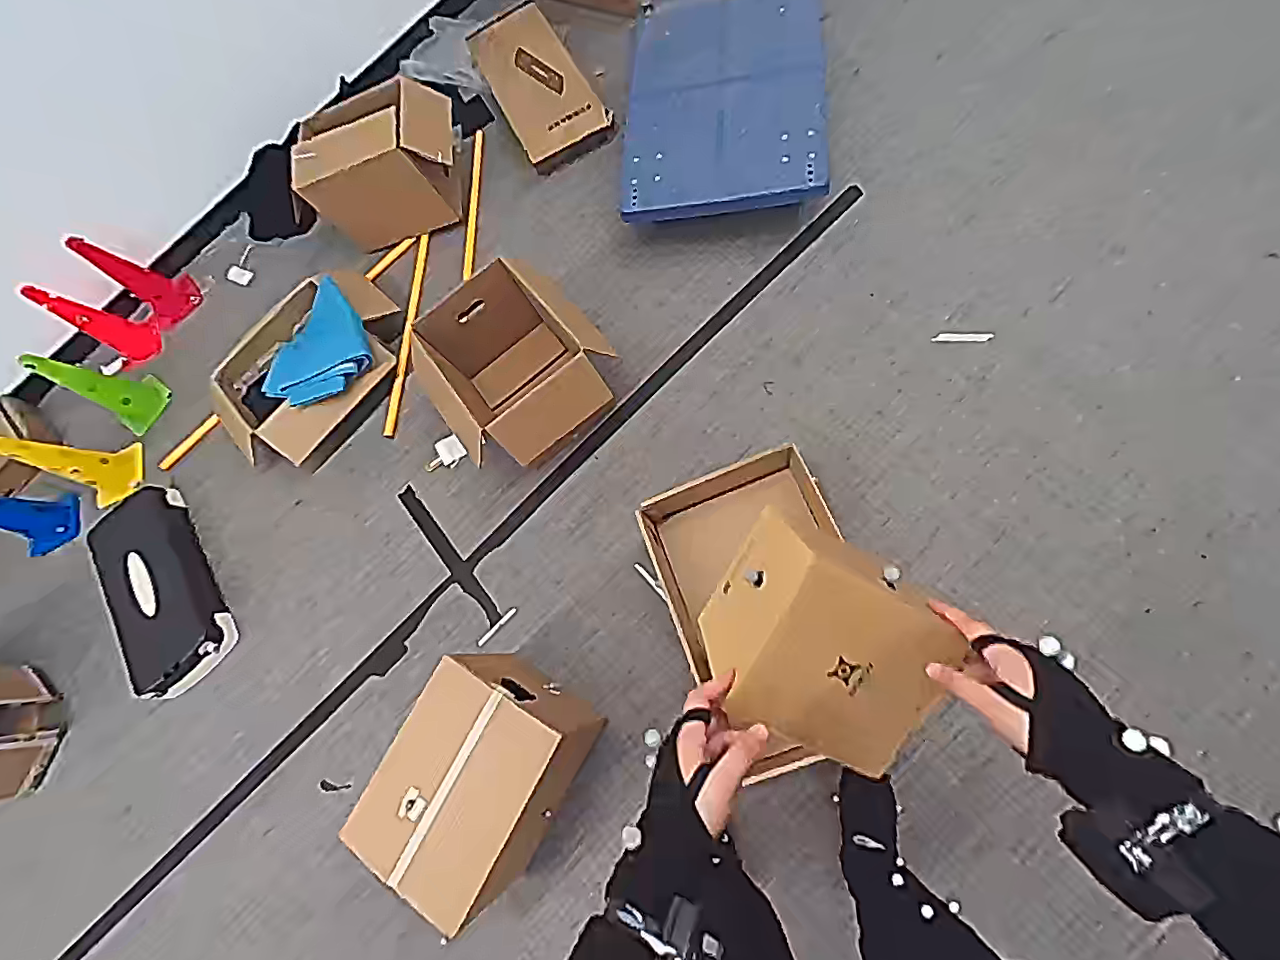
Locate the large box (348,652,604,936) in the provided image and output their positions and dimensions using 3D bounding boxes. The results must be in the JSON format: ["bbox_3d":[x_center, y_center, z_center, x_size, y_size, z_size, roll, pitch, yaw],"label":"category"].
[{"bbox_3d":[-0.333,0.637,1.197,0.320,0.320,0.408,25,81,20],"label":"large box"}]

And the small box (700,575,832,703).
[{"bbox_3d":[0.233,0.299,1.004,0.179,0.176,0.168,-27,66,4],"label":"small box"}]
